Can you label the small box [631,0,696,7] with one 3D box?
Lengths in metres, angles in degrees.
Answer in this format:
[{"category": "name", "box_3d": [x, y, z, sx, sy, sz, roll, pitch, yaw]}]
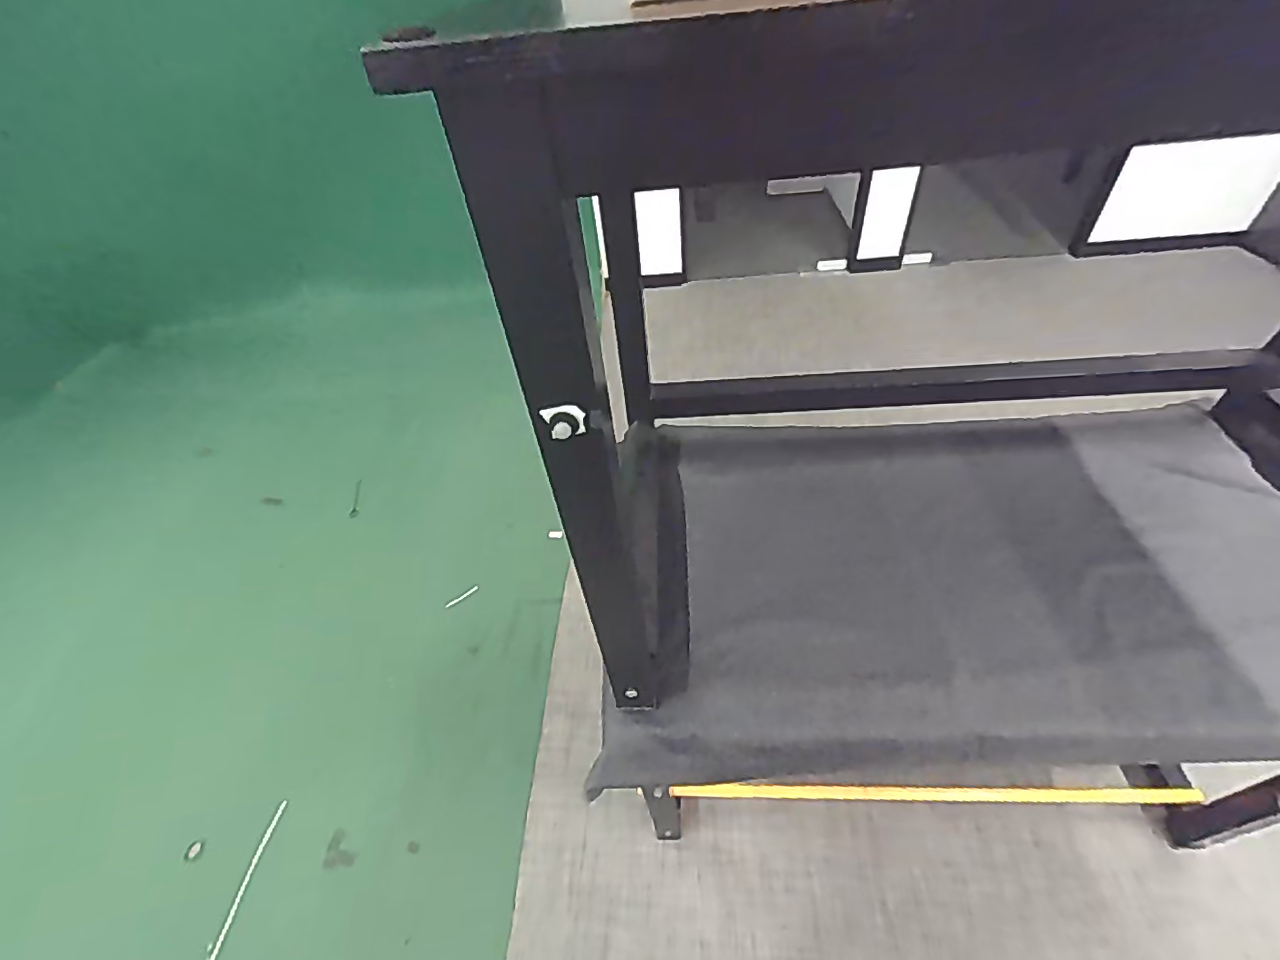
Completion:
[{"category": "small box", "box_3d": [0.070, -0.342, 0.253, 0.168, 0.176, 0.179, -1, 45, 5]}]
